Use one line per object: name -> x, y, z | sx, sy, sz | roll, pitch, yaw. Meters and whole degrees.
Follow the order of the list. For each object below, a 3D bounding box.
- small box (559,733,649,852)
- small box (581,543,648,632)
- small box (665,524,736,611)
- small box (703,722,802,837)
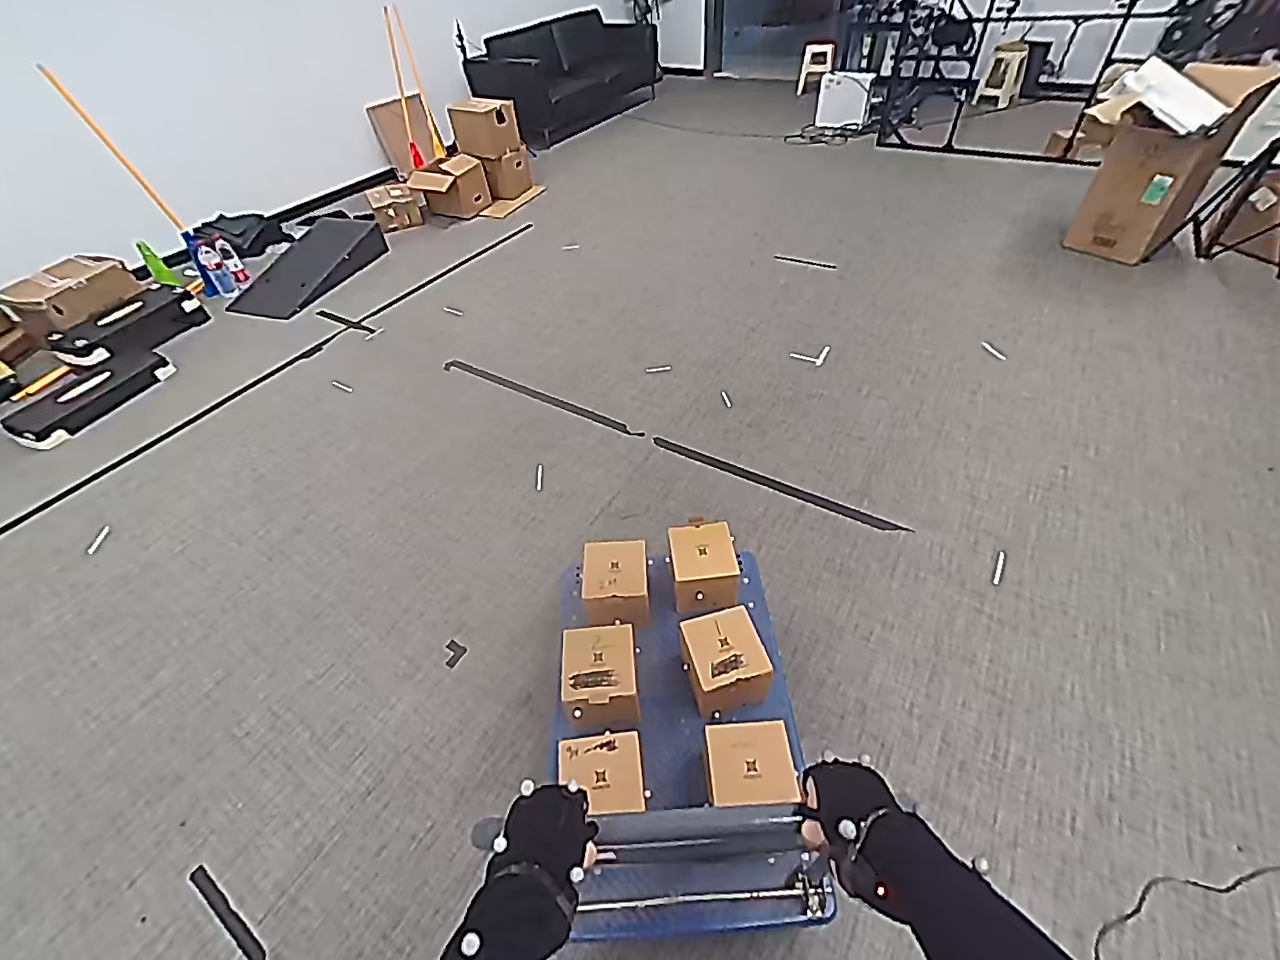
small box -> -0.073, 0.650, 1.116 | 0.168, 0.176, 0.179 | -6, 46, -3
small box -> -0.065, 0.291, 1.463 | 0.168, 0.176, 0.179 | -3, 47, 2
small box -> 0.165, 0.247, 1.489 | 0.168, 0.176, 0.179 | -7, 46, -2
small box -> 0.224, 0.624, 1.120 | 0.168, 0.176, 0.179 | -4, 45, 0
